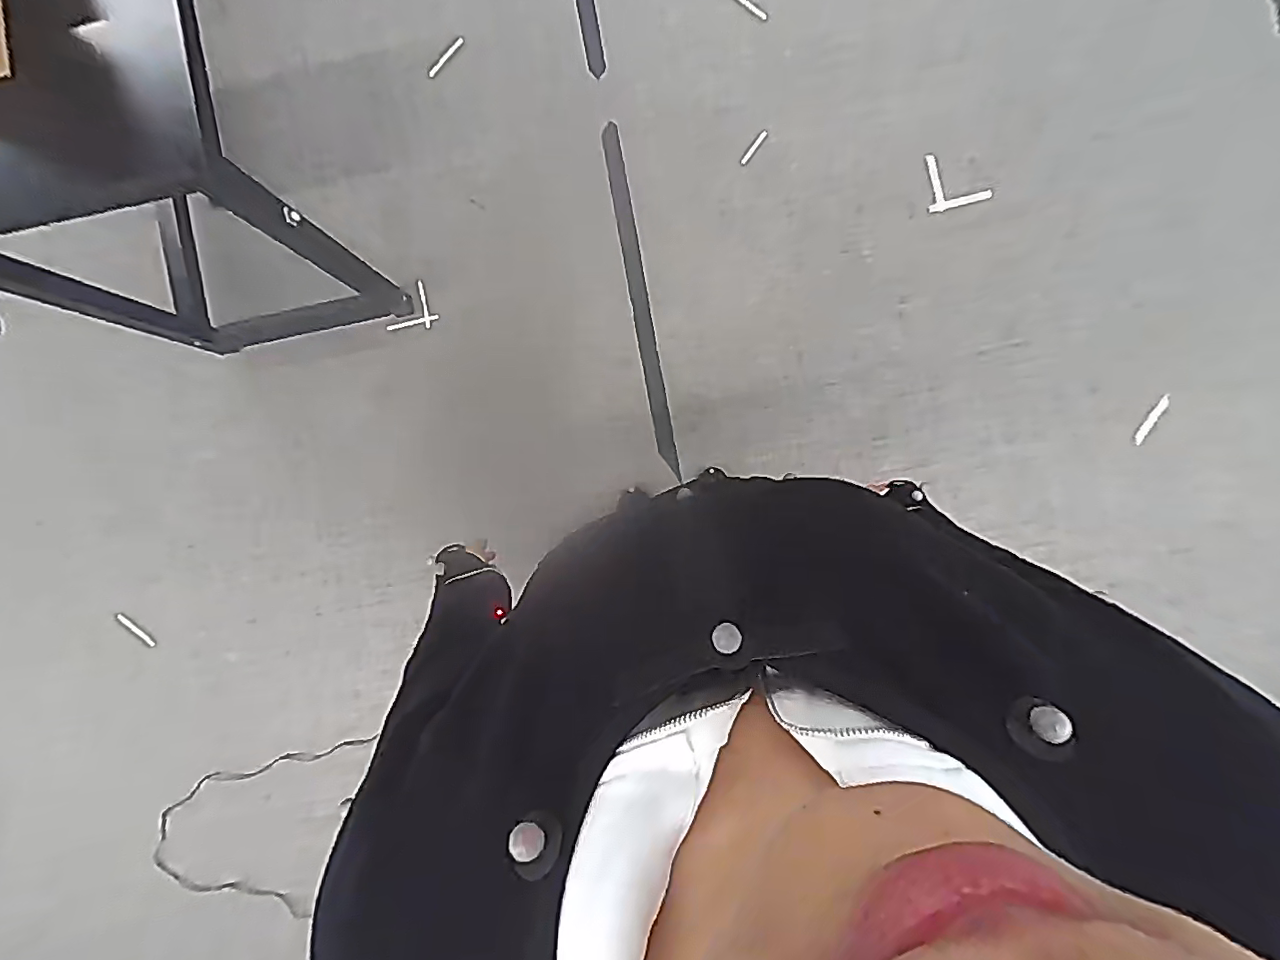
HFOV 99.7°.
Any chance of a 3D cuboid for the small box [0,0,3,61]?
[{"bbox_3d":[-1.039,-0.676,0.735,0.179,0.176,0.168,-8,89,2],"label":"small box"}]
